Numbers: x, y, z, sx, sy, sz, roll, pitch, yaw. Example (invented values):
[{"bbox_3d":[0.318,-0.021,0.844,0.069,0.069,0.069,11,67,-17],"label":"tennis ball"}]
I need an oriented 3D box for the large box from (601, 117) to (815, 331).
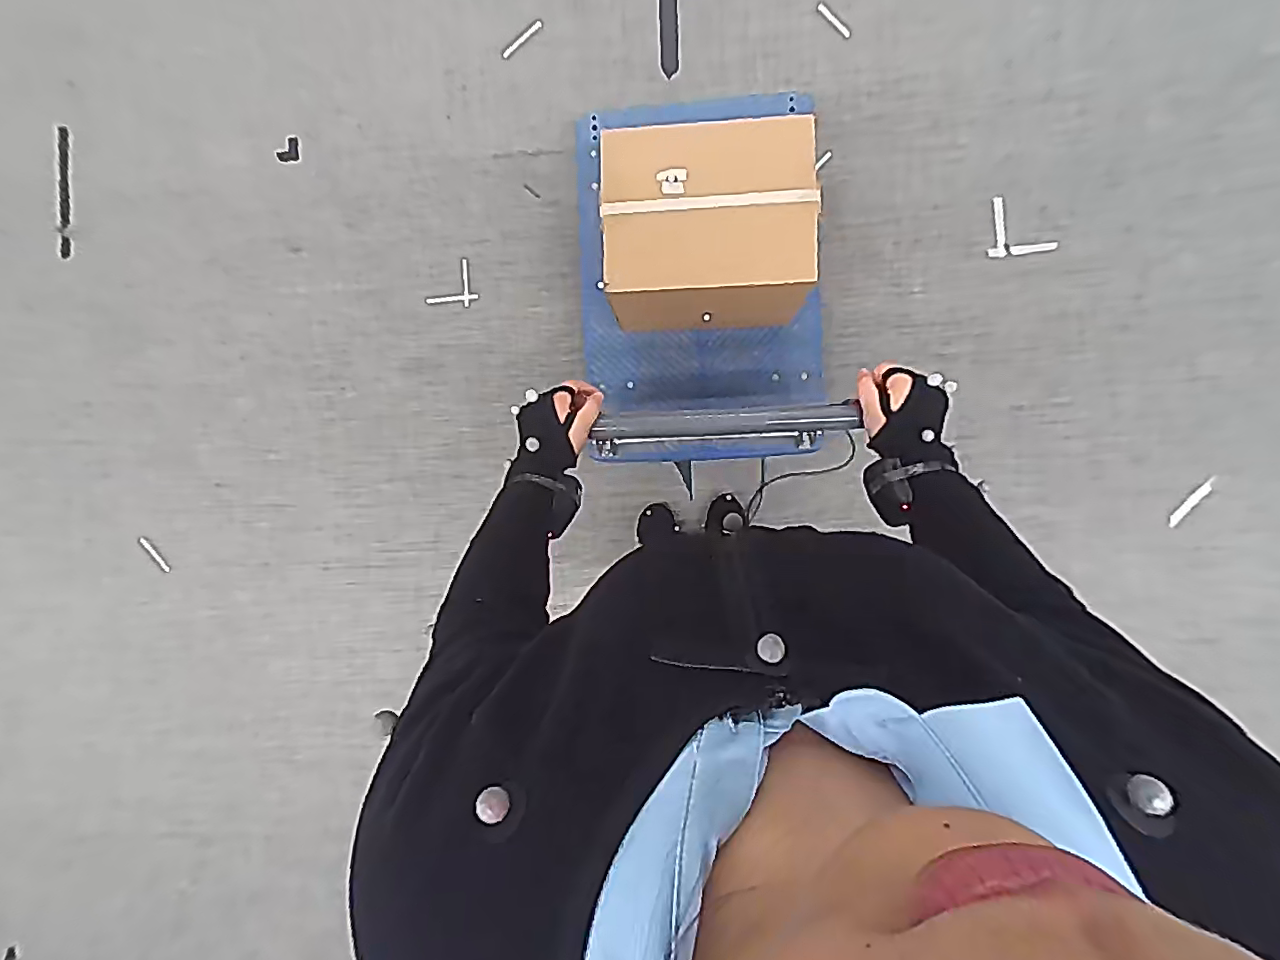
[{"bbox_3d":[0.143,-0.525,1.184,0.408,0.320,0.320,-2,90,6],"label":"large box"}]
